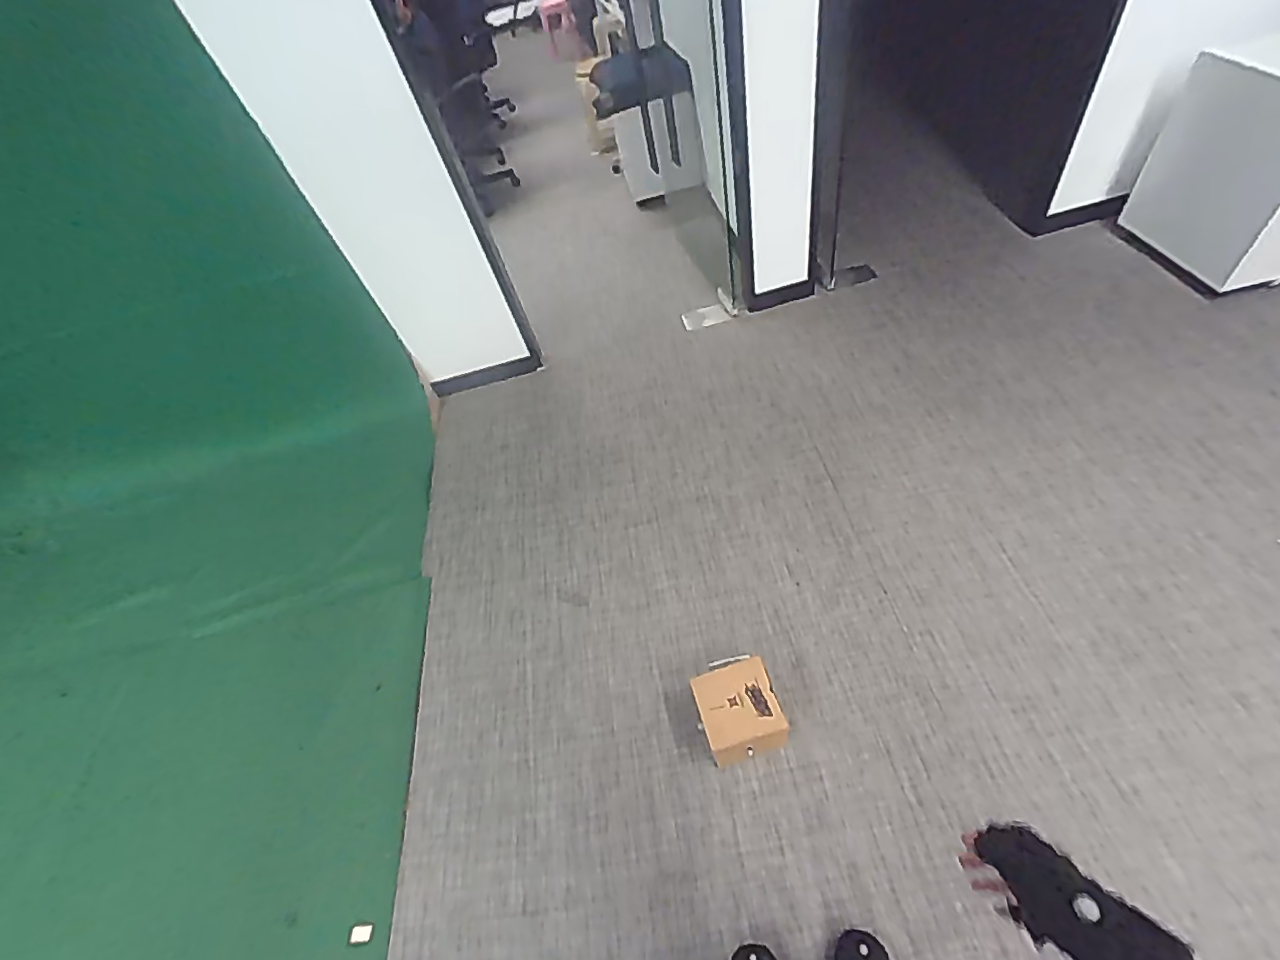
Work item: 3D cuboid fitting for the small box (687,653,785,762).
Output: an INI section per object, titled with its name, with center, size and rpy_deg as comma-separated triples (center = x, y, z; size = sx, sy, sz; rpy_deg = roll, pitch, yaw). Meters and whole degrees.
[small box]
center = 0.224, 0.539, 1.278
size = 0.179, 0.176, 0.168
rpy_deg = -20, 50, -3
